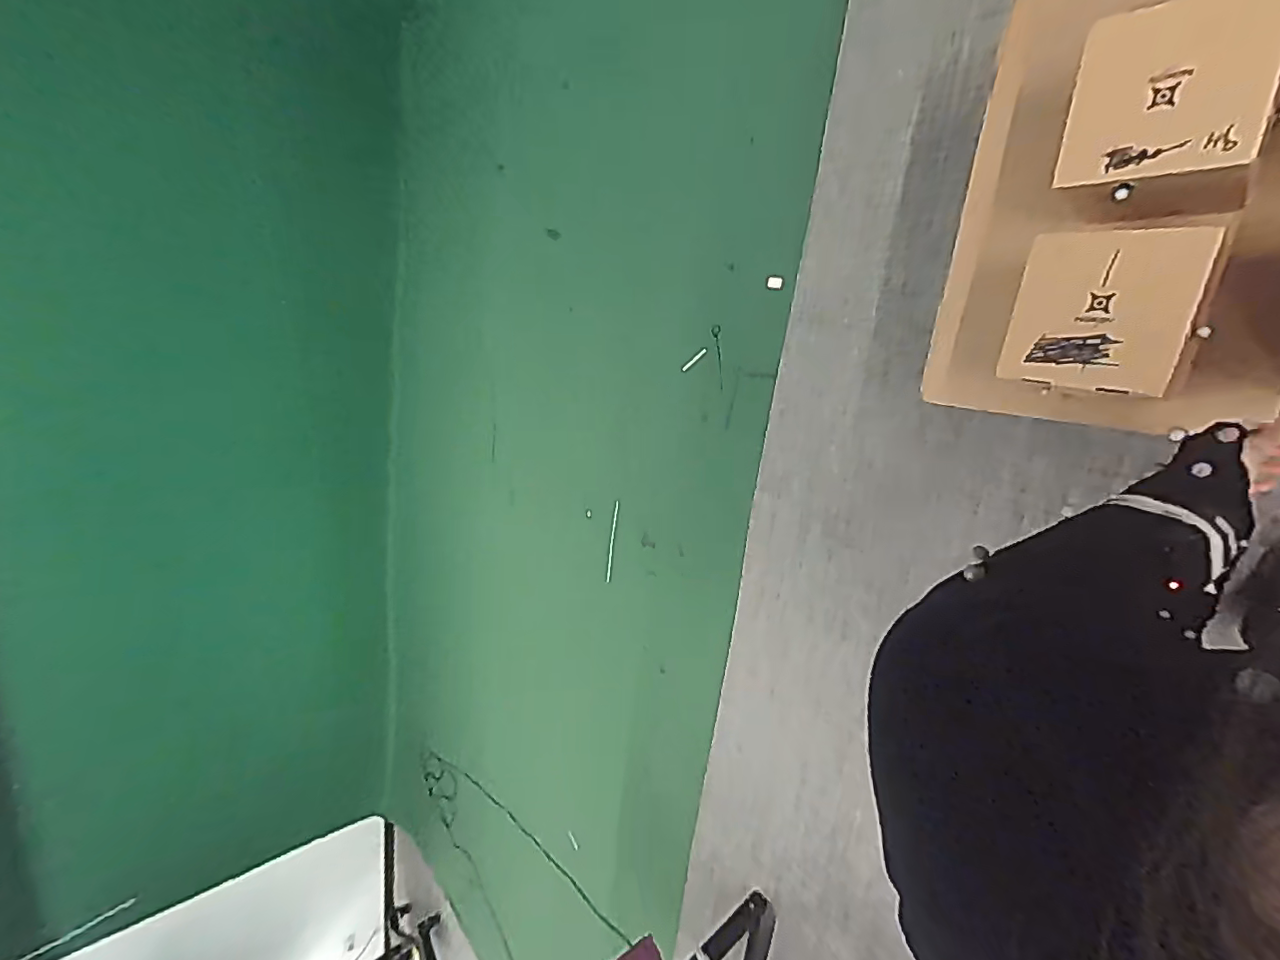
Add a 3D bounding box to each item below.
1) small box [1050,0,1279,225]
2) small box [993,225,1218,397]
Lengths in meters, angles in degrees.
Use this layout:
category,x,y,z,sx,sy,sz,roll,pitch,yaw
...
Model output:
category,x,y,z,sx,sy,sz,roll,pitch,yaw
small box,0.611,-0.417,0.623,0.168,0.176,0.179,20,107,46
small box,0.582,-0.203,0.677,0.168,0.176,0.179,22,109,44
